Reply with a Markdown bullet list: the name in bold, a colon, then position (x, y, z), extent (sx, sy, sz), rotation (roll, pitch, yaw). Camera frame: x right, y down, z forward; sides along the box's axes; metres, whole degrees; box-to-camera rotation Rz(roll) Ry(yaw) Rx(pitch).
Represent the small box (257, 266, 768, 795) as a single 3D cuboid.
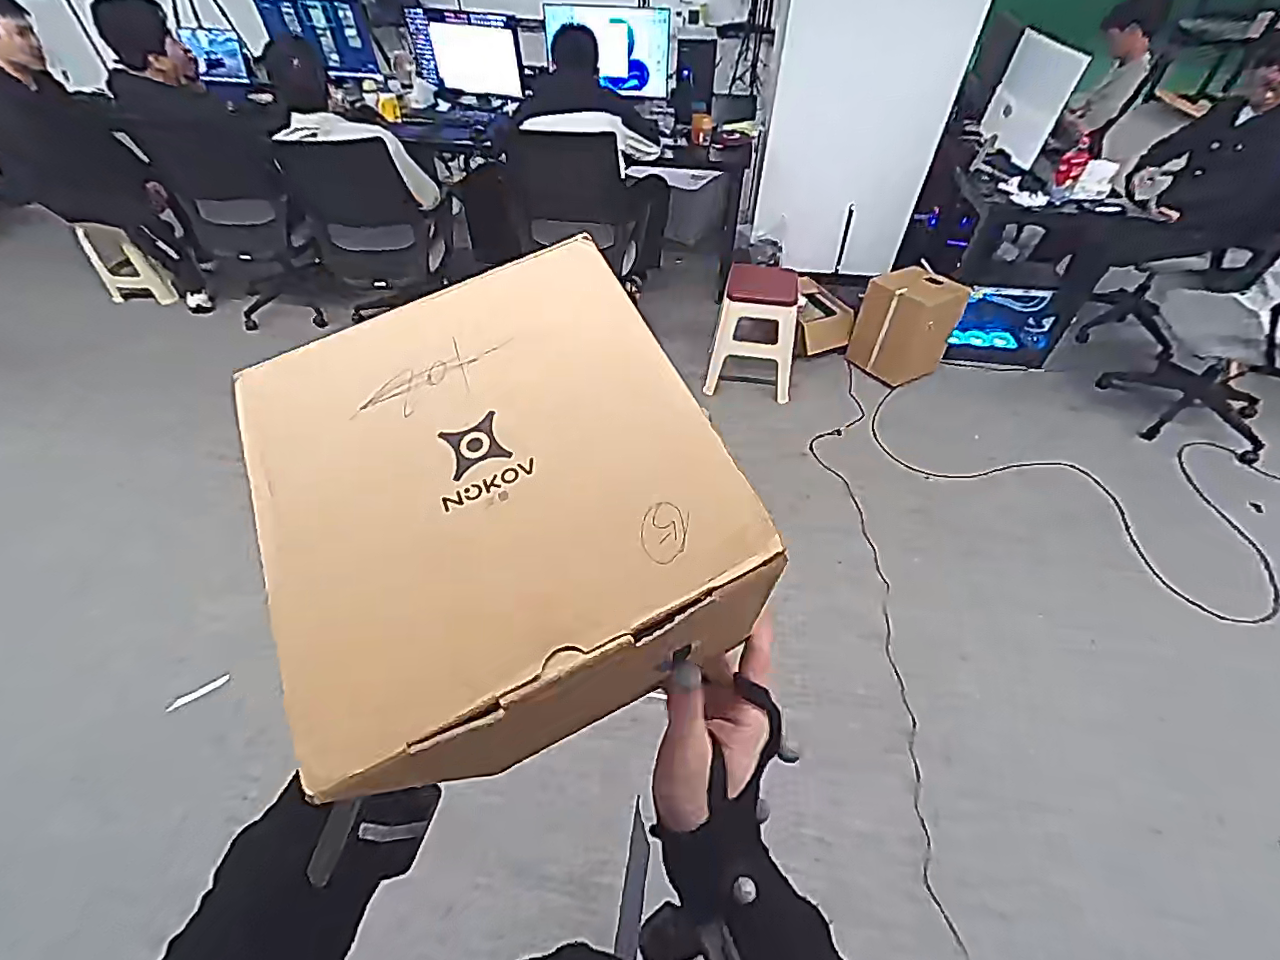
- **small box**: position (-0.055, 0.032, 0.288), extent (0.168, 0.176, 0.179), rotation (-26, 64, -8)
